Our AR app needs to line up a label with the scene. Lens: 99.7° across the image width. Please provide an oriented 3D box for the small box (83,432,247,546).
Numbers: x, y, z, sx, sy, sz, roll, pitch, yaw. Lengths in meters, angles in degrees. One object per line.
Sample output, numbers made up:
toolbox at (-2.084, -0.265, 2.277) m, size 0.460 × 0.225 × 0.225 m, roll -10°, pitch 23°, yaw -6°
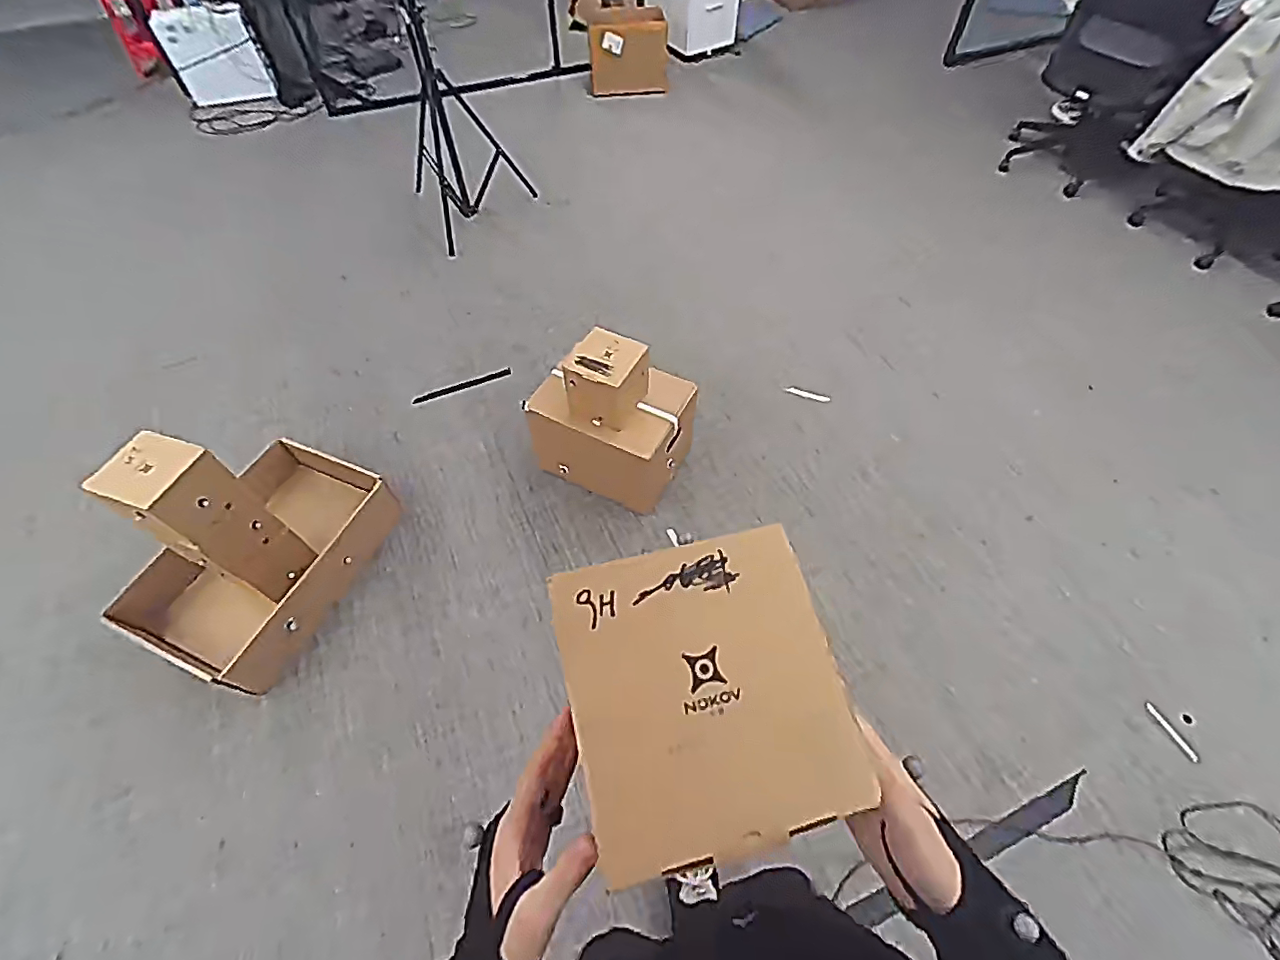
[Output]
small box at (-1.036, 0.026, 1.200) m, size 0.179 × 0.176 × 0.168 m, roll 15°, pitch 56°, yaw 10°

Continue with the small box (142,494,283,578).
small box at (-1.039, 0.122, 1.335) m, size 0.179 × 0.176 × 0.168 m, roll 15°, pitch 56°, yaw 11°

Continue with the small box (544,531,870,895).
small box at (0.031, 0.157, 0.403) m, size 0.168 × 0.176 × 0.179 m, roll -12°, pitch 70°, yaw -10°

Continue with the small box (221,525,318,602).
small box at (-1.034, 0.209, 1.471) m, size 0.179 × 0.176 × 0.168 m, roll 20°, pitch 59°, yaw 12°
